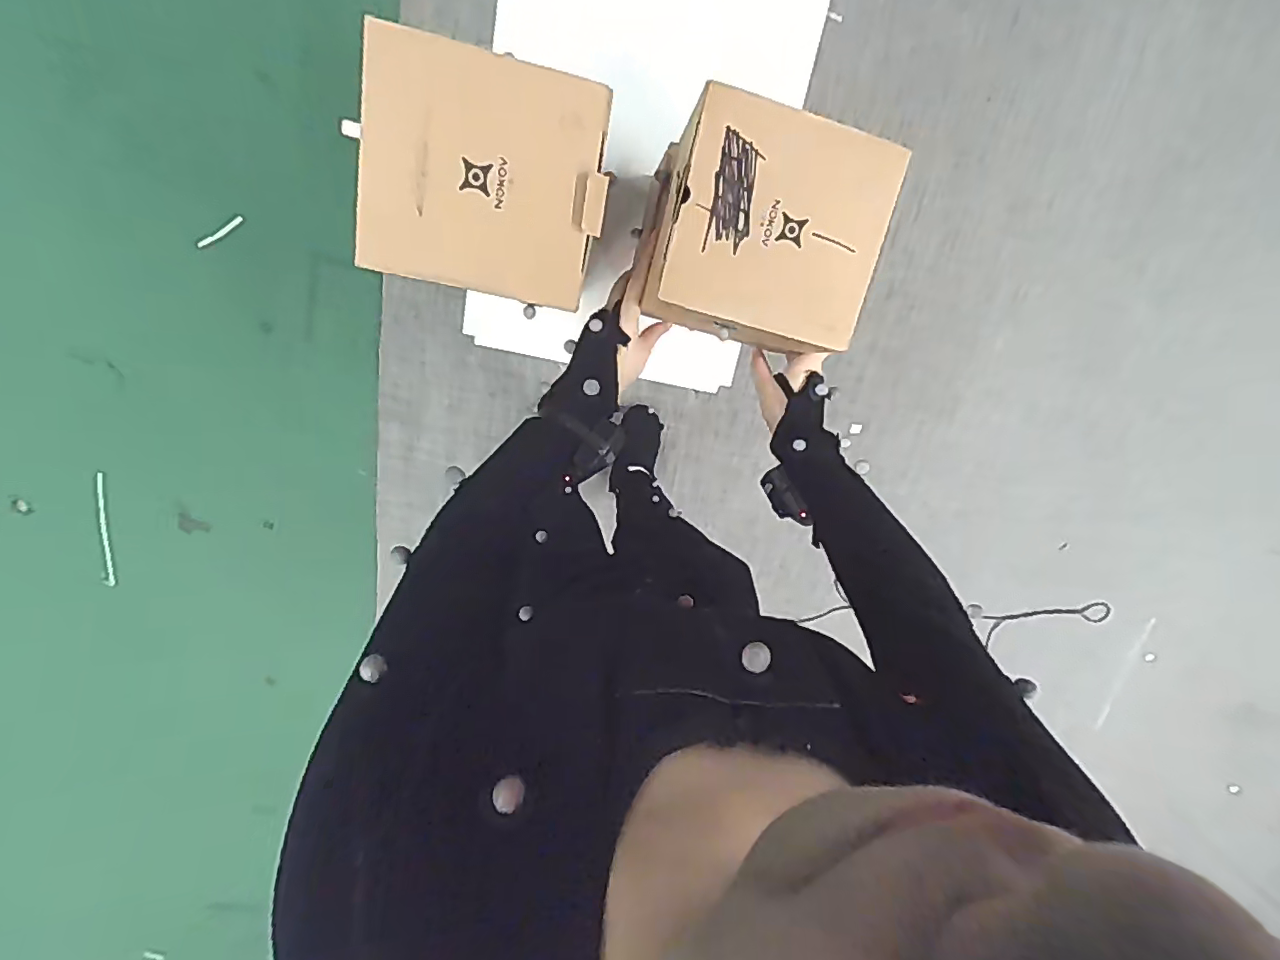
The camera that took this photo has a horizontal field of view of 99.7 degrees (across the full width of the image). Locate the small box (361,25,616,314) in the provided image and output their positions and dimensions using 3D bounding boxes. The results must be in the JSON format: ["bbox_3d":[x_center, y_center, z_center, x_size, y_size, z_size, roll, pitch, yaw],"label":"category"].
[{"bbox_3d":[-0.126,-0.252,0.486,0.179,0.176,0.168,9,106,-9],"label":"small box"}]

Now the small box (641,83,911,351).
[{"bbox_3d":[0.107,-0.223,0.513,0.179,0.176,0.168,13,102,-9],"label":"small box"}]
